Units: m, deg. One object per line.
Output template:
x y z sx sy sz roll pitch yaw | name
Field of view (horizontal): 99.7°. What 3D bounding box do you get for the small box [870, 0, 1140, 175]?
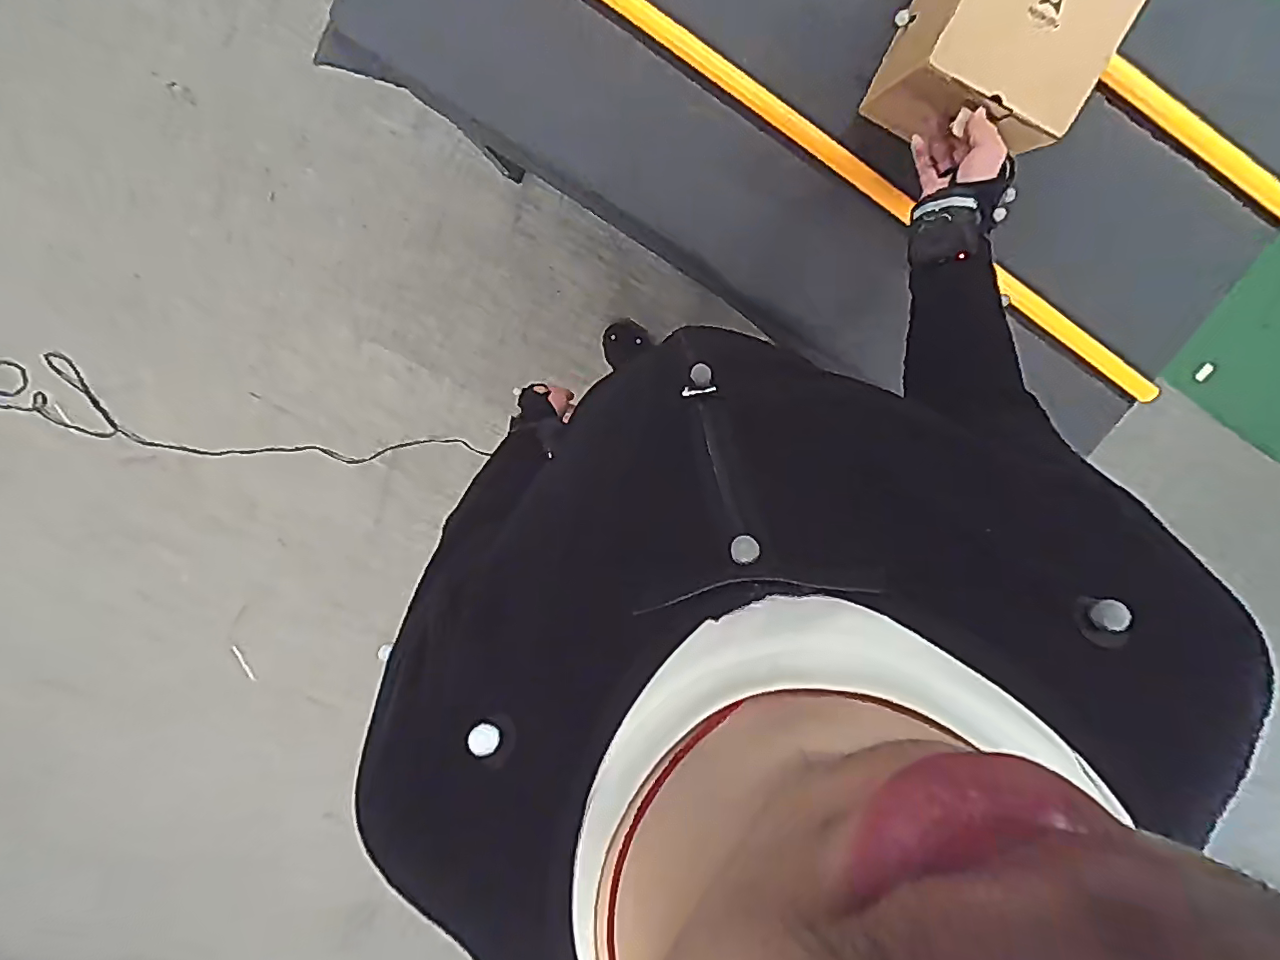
0.385 -0.470 0.601 0.168 0.176 0.179 20 108 -6 | small box
